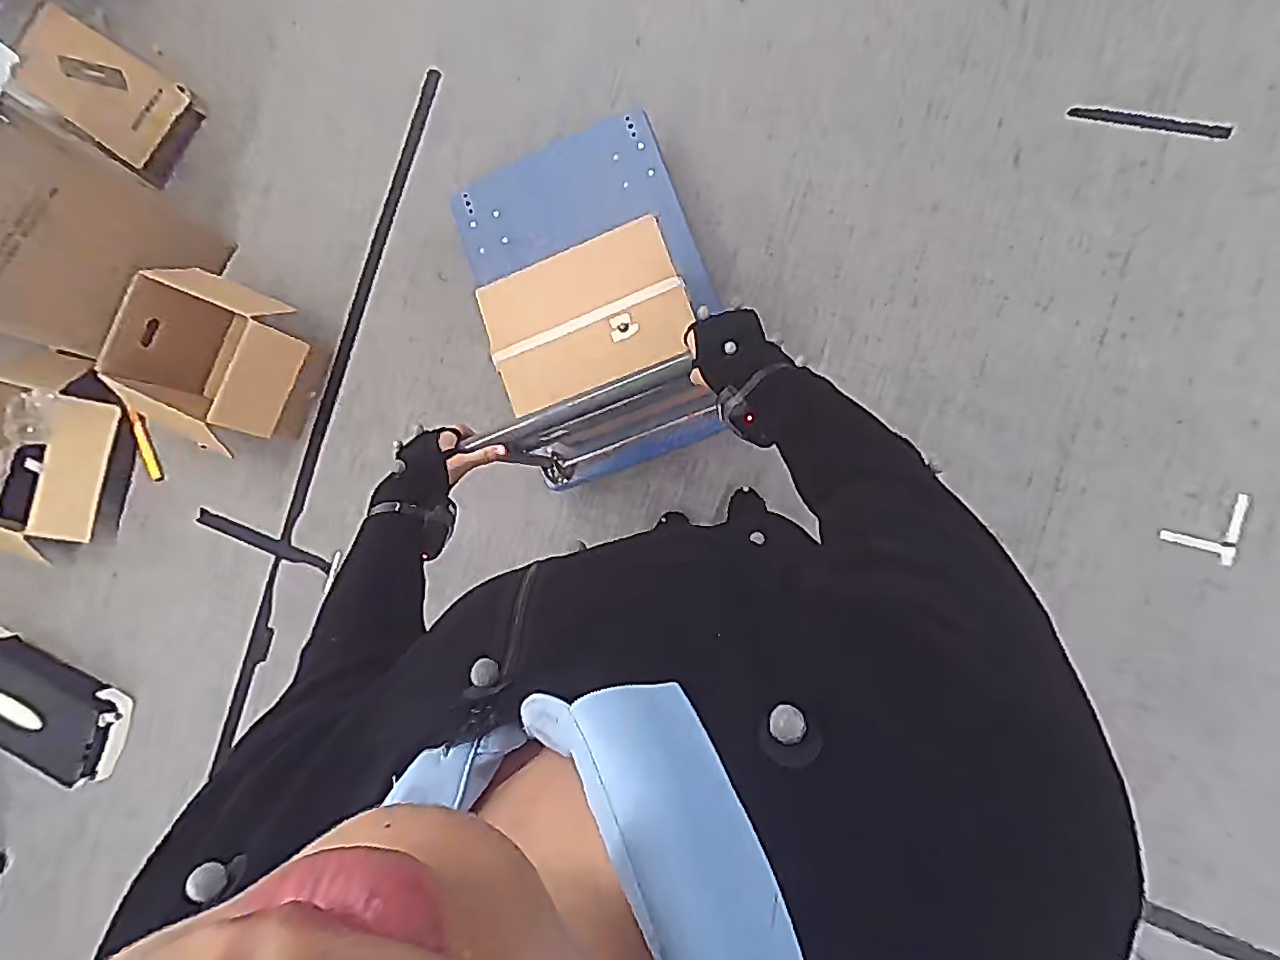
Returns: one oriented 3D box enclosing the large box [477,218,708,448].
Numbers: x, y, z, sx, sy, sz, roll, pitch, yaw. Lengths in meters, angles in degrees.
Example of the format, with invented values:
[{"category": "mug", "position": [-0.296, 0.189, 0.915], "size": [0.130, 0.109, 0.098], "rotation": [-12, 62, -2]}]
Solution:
[{"category": "large box", "position": [-0.086, -0.301, 1.229], "size": [0.408, 0.320, 0.320], "rotation": [-20, 84, 7]}]
